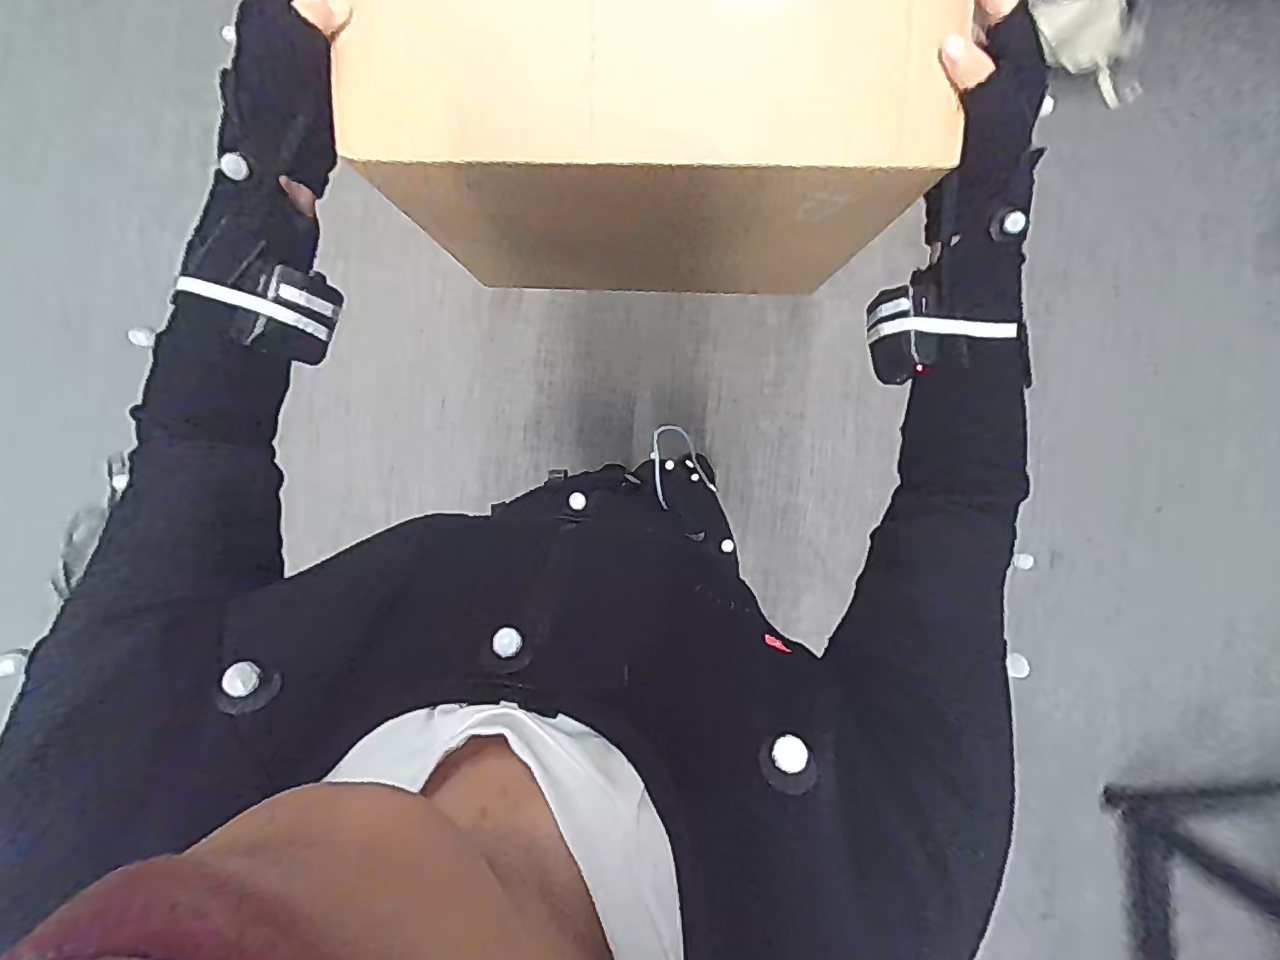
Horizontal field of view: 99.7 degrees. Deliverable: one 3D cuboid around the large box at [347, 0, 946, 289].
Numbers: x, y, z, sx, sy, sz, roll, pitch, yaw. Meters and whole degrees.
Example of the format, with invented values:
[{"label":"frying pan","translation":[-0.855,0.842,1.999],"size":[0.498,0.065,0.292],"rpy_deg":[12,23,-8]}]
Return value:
[{"label":"large box","translation":[0.002,-0.378,0.502],"size":[0.408,0.320,0.320],"rpy_deg":[0,95,0]}]
